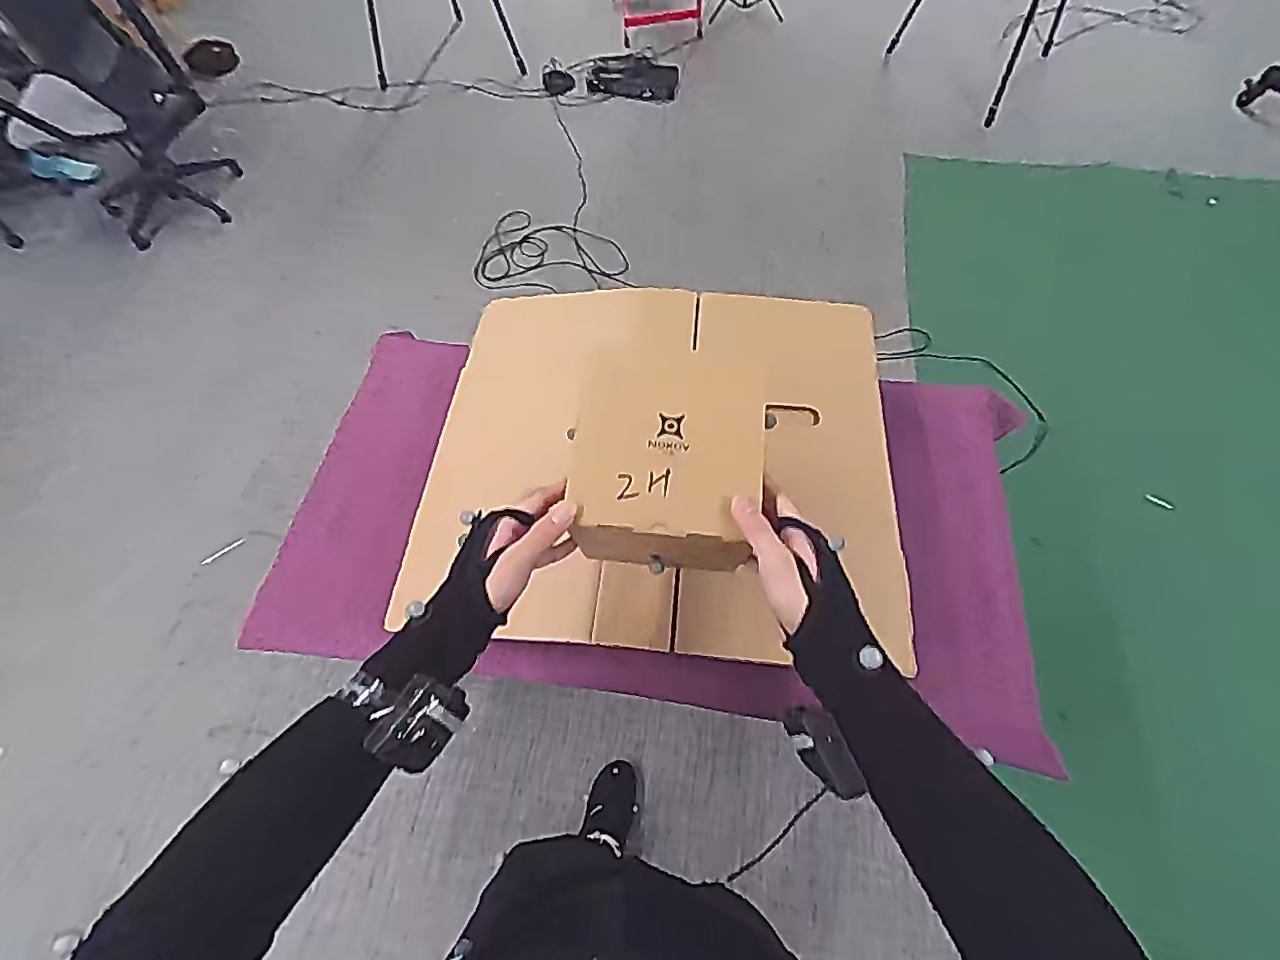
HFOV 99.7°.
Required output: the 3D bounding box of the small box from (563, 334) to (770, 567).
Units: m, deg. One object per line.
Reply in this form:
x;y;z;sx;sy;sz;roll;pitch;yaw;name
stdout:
0.029;-0.020;0.544;0.168;0.176;0.179;6;72;4;small box
